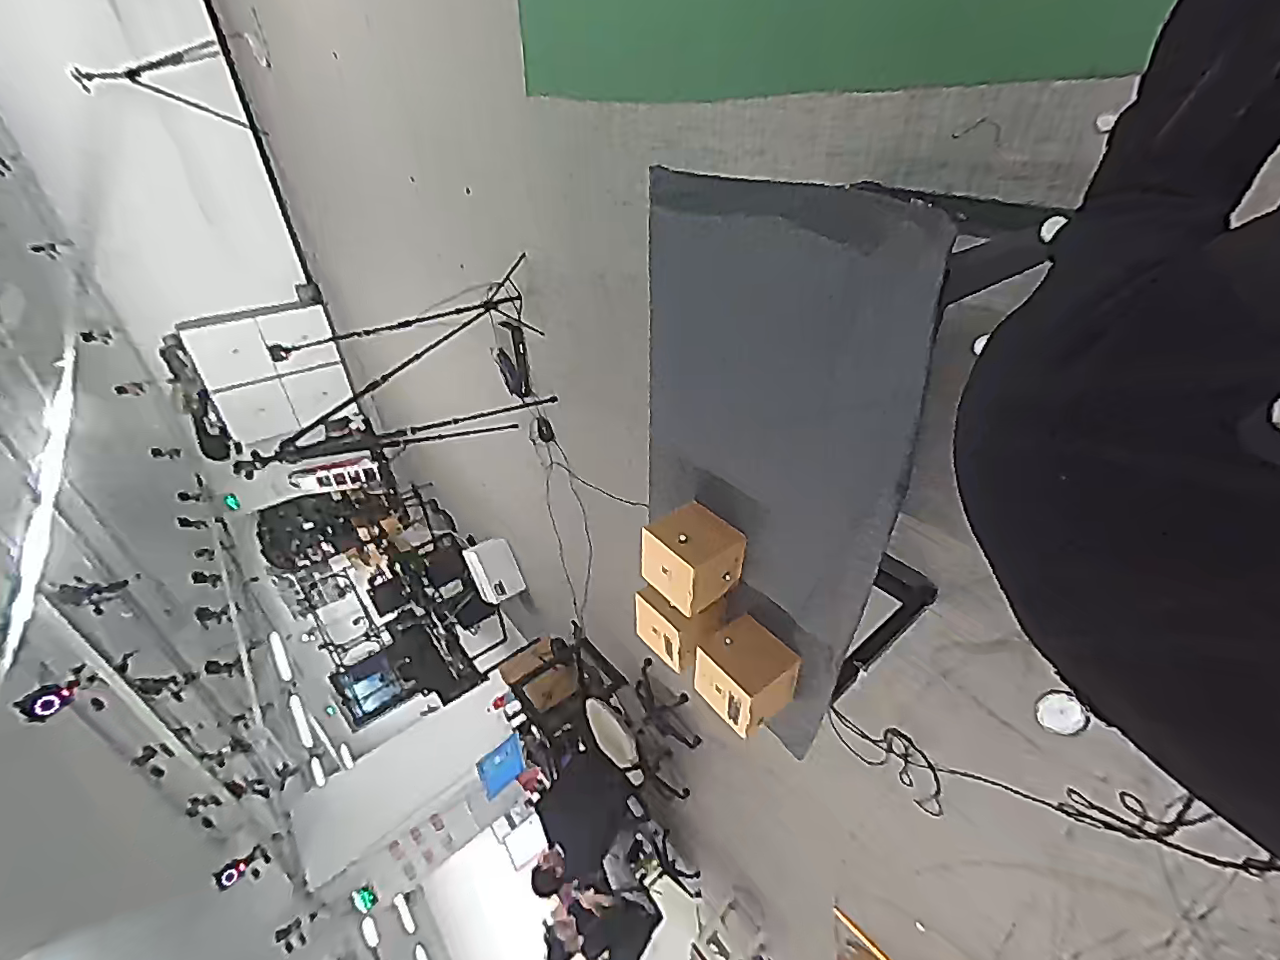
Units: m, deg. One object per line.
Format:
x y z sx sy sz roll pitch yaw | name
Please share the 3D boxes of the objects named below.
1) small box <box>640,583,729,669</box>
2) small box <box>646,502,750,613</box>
0.120 0.358 1.444 0.179 0.176 0.168 34 138 41 | small box
0.134 0.174 1.290 0.179 0.176 0.168 35 139 38 | small box
